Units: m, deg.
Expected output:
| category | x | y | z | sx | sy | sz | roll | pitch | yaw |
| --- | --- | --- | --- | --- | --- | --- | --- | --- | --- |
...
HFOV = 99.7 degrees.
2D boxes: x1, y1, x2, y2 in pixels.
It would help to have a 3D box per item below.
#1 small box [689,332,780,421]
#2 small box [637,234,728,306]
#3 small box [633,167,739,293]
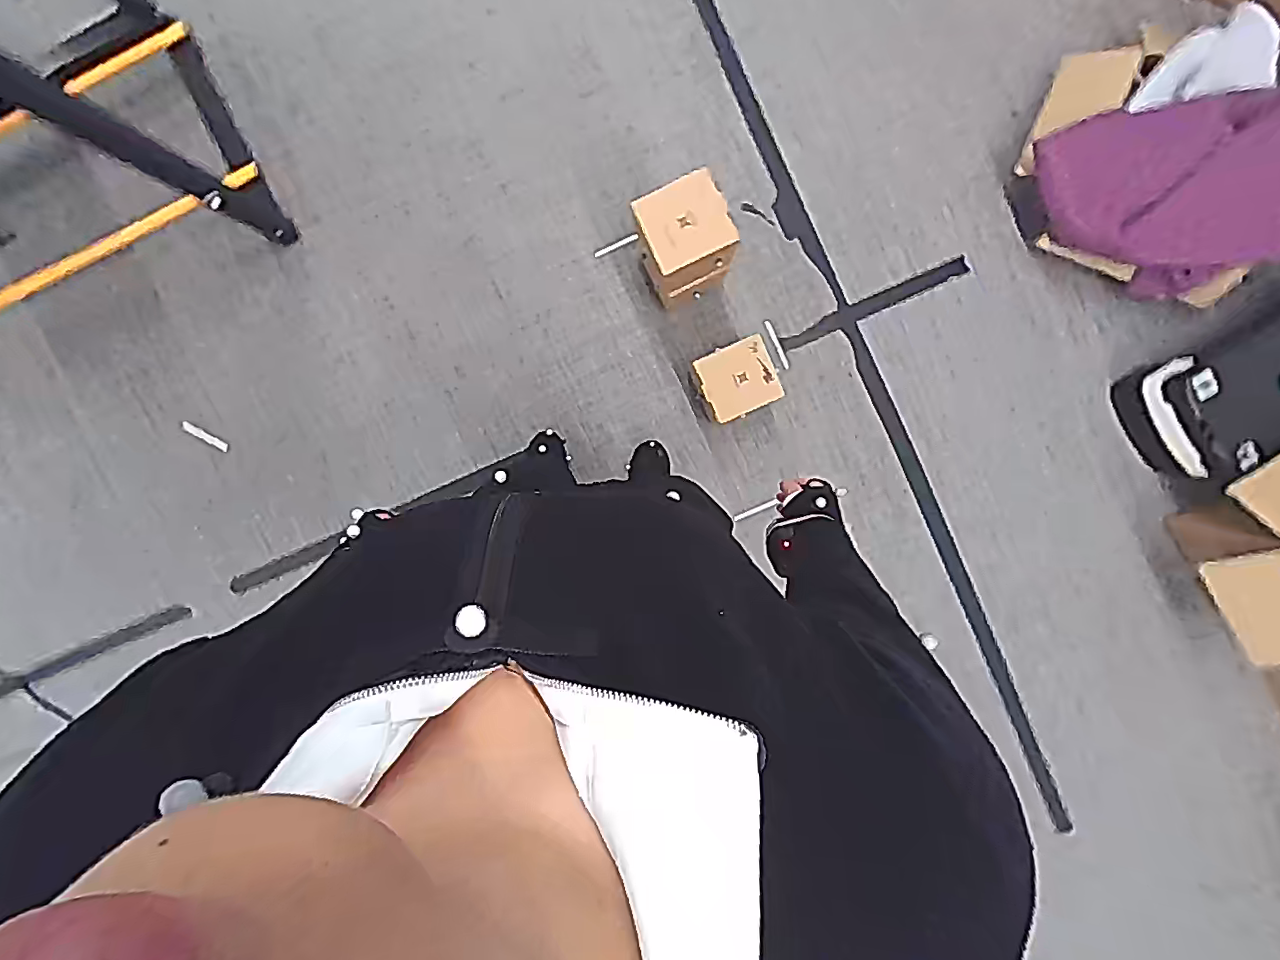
| category | x | y | z | sx | sy | sz | roll | pitch | yaw |
| --- | --- | --- | --- | --- | --- | --- | --- | --- | --- |
| small box | 0.234 | -0.256 | 1.385 | 0.179 | 0.176 | 0.168 | -23 | 95 | 4 |
| small box | 0.105 | -0.556 | 1.356 | 0.168 | 0.176 | 0.179 | -26 | 94 | 3 |
| small box | 0.097 | -0.541 | 1.195 | 0.179 | 0.176 | 0.168 | -25 | 93 | 4 |
